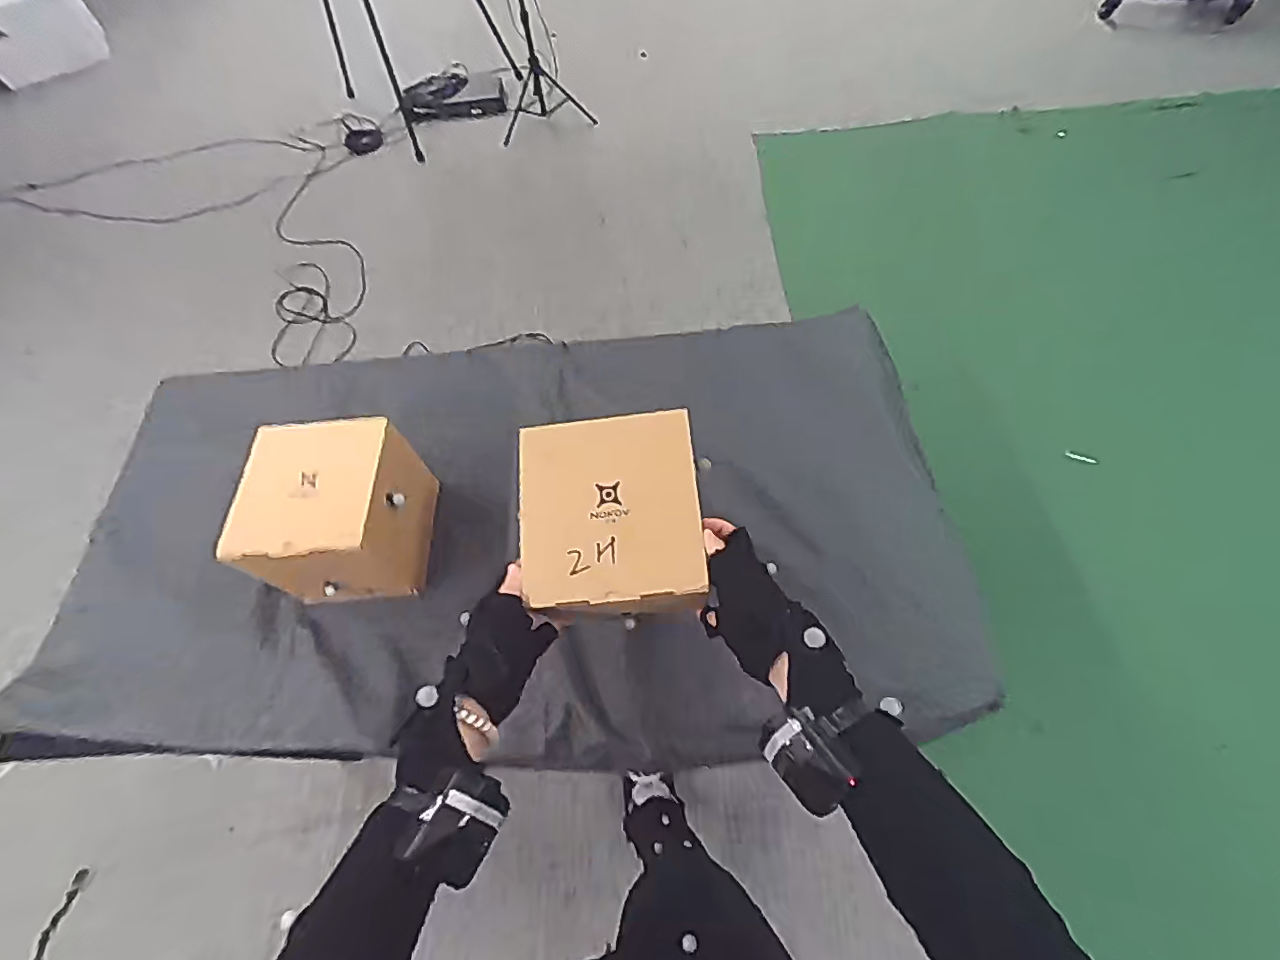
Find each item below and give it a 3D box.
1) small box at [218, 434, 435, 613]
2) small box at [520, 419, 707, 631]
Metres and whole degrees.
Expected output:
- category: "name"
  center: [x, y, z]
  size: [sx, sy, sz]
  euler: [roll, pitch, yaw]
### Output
- category: "small box"
  center: [-0.383, 0.061, 0.702]
  size: [0.168, 0.176, 0.179]
  euler: [-4, 60, 1]
- category: "small box"
  center: [-0.022, 0.057, 0.573]
  size: [0.168, 0.176, 0.179]
  euler: [-6, 69, 4]
